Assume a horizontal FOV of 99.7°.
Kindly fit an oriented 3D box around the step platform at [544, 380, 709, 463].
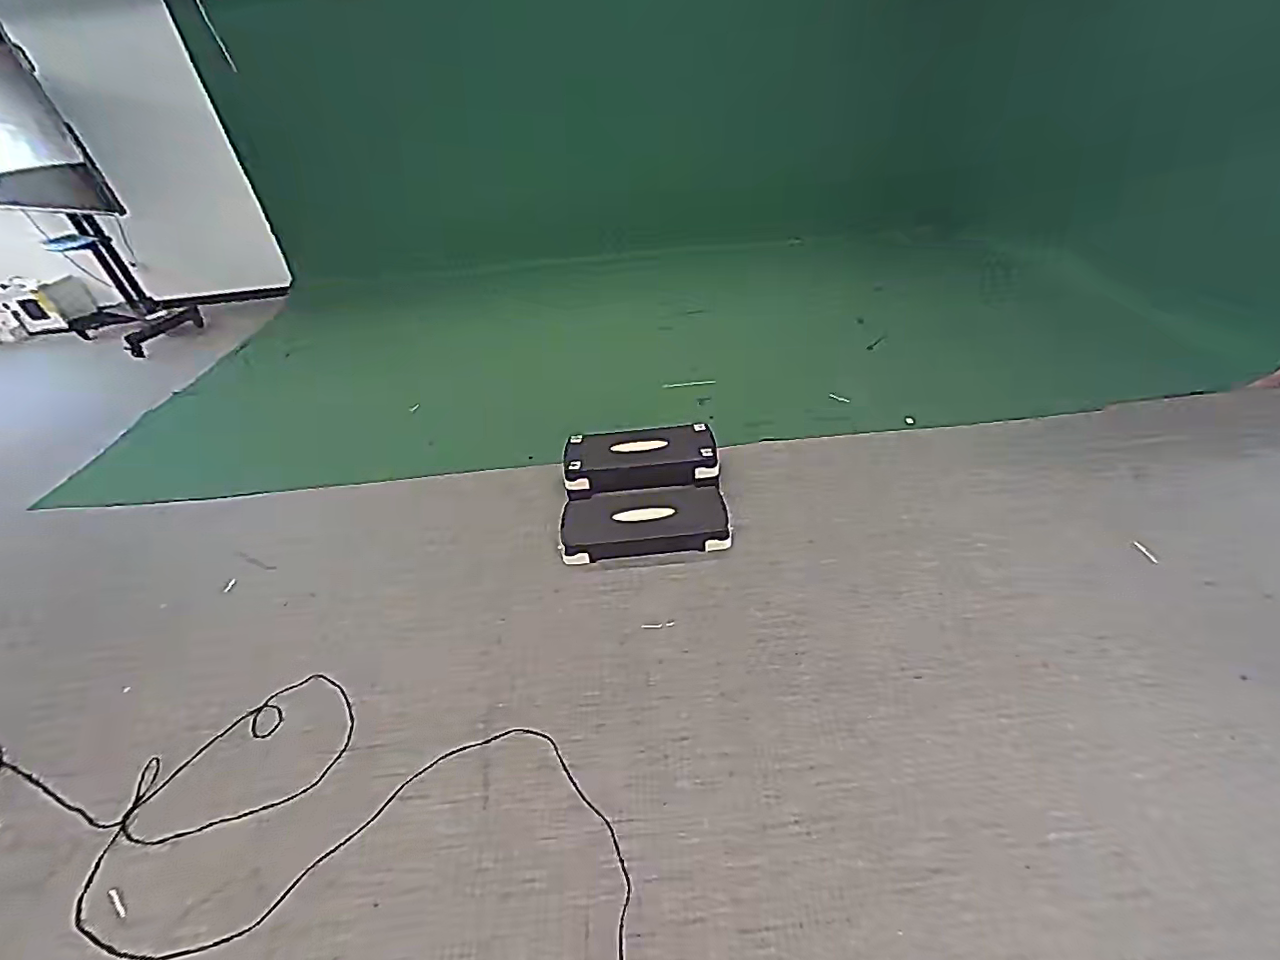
[{"bbox_3d":[-0.051,-0.252,2.305,0.684,0.204,0.286,-6,39,1],"label":"step platform"}]
